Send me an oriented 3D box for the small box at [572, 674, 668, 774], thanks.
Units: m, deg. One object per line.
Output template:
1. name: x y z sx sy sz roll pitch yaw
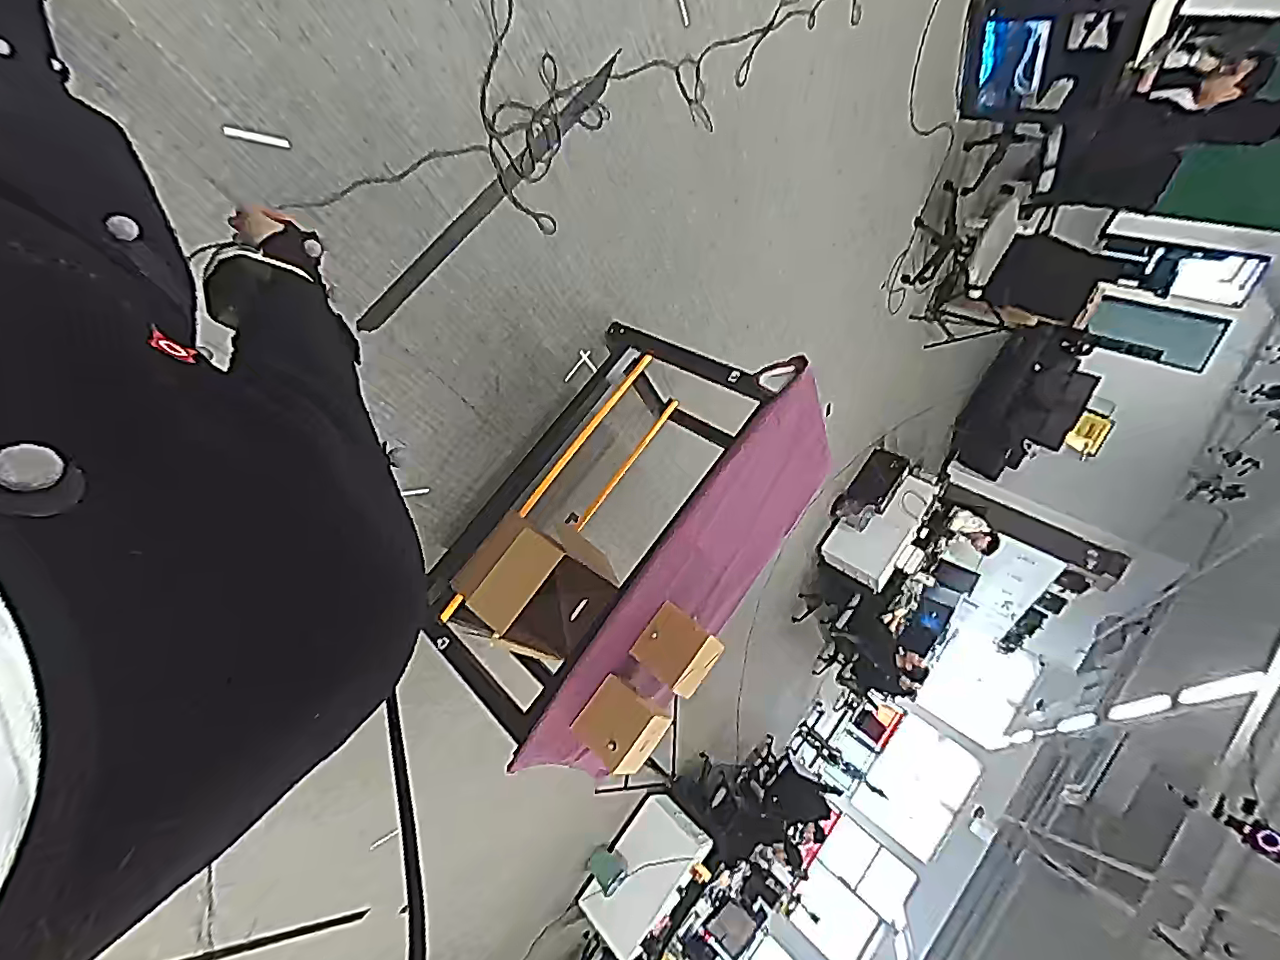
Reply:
1. small box: -0.060 0.657 1.453 0.179 0.176 0.168 -52 148 -10

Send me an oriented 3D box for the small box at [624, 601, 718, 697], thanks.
1. small box: 0.094 0.472 1.506 0.179 0.176 0.168 -52 147 -11
